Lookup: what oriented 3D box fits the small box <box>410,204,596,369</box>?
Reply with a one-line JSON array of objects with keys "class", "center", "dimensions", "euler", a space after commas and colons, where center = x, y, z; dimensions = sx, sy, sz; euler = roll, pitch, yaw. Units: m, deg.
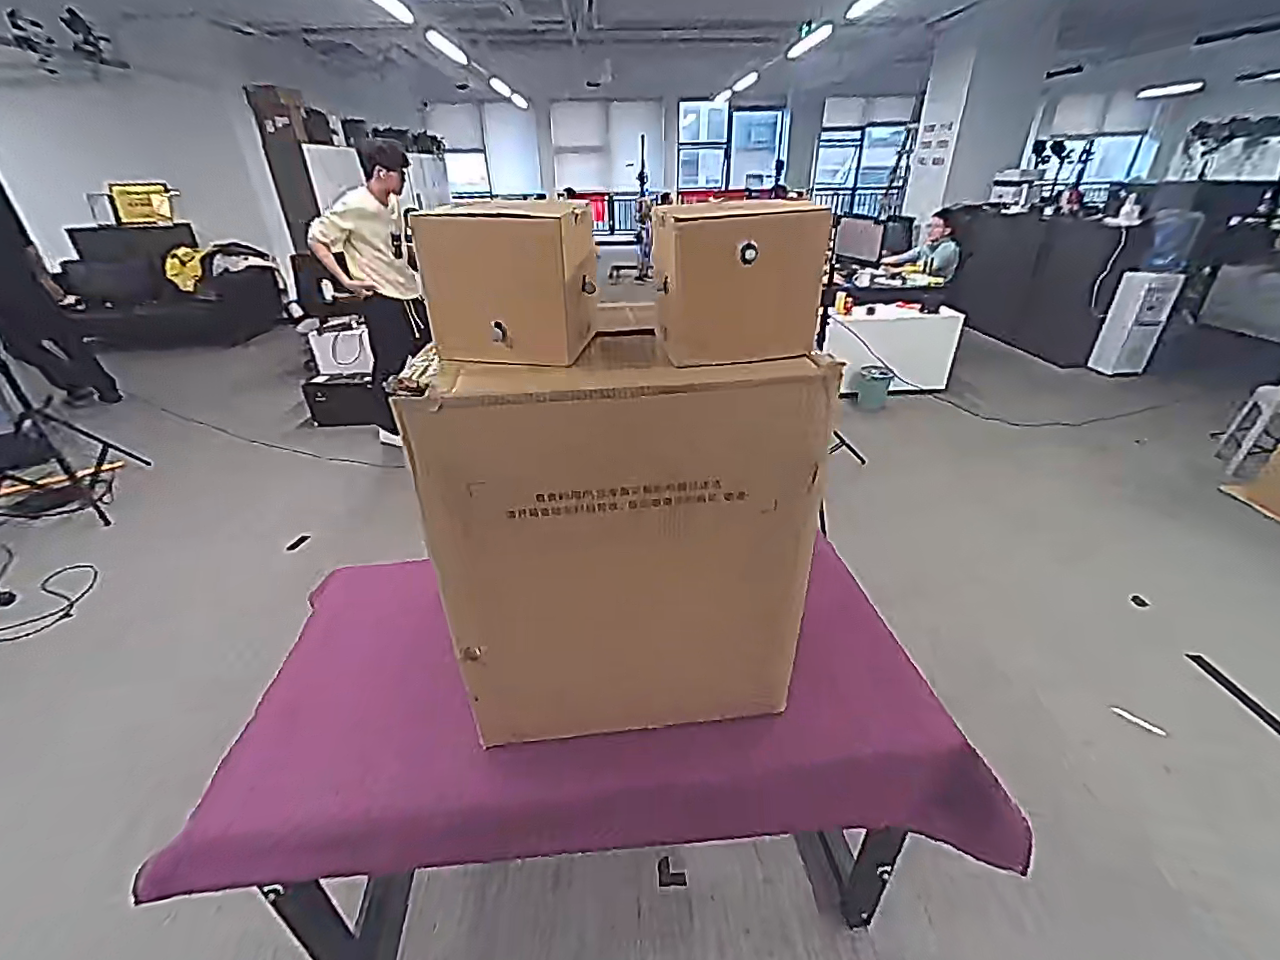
[{"class": "small box", "center": [-0.157, -0.249, 0.691], "dimensions": [0.179, 0.176, 0.168], "euler": [5, 32, 8]}]

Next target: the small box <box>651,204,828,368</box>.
[{"class": "small box", "center": [0.114, -0.247, 0.684], "dimensions": [0.179, 0.176, 0.168], "euler": [-6, 31, -6]}]
